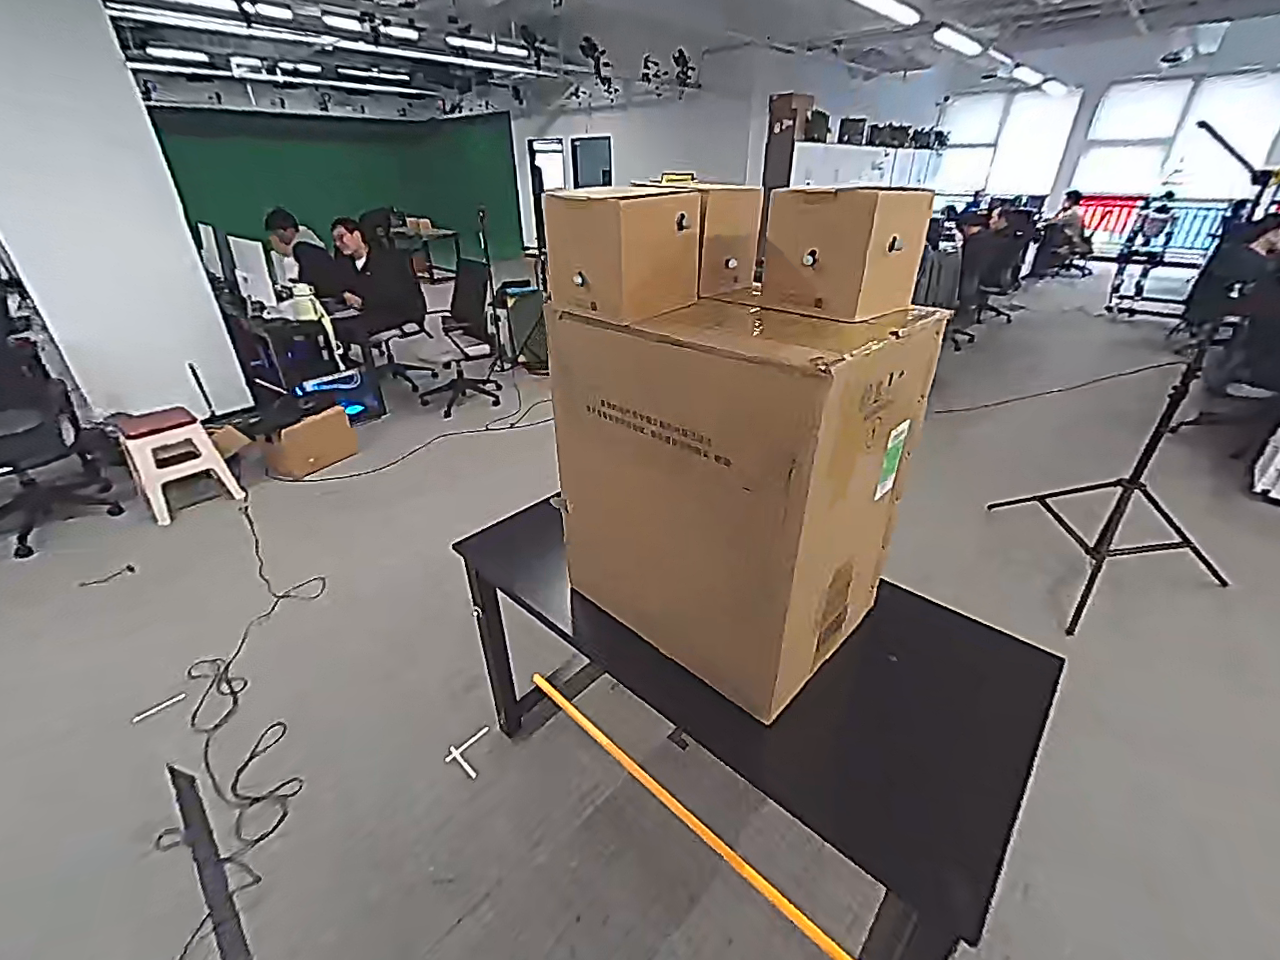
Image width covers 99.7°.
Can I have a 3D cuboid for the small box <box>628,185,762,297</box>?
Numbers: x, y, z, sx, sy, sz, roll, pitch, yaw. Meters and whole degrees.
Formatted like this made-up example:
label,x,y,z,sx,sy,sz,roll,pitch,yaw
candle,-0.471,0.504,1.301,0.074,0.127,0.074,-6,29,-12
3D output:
label,x,y,z,sx,sy,sz,roll,pitch,yaw
small box,0.093,-0.433,0.973,0.179,0.176,0.168,26,38,36
